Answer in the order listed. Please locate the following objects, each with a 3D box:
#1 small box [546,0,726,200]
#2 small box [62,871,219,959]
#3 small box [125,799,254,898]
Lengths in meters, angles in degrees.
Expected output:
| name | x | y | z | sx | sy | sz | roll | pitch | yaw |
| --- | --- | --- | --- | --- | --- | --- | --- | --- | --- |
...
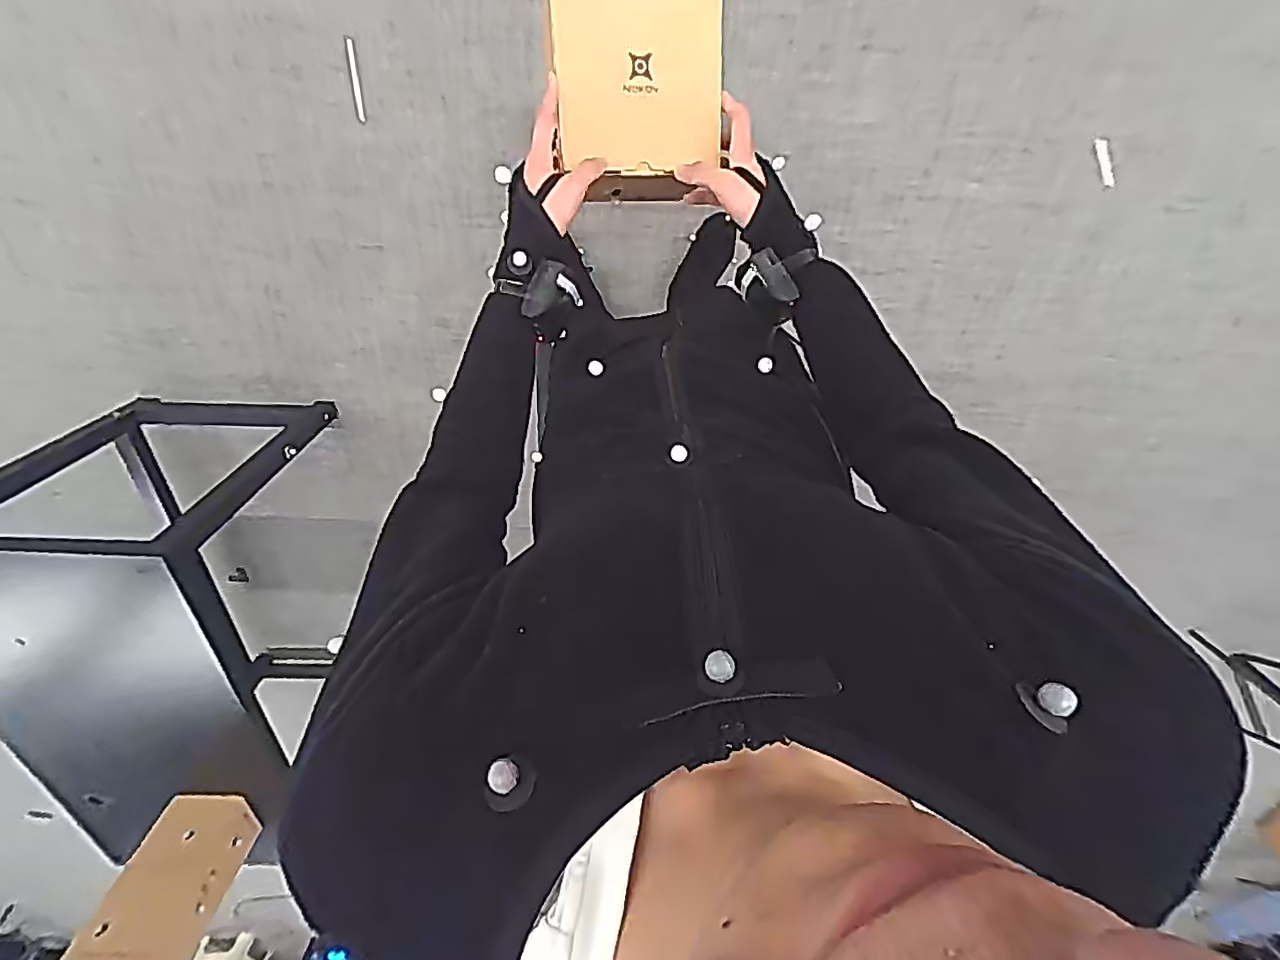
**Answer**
| name | x | y | z | sx | sy | sz | roll | pitch | yaw |
| --- | --- | --- | --- | --- | --- | --- | --- | --- | --- |
| small box | -0.013 | -0.417 | 0.589 | 0.168 | 0.176 | 0.179 | -5 | 110 | -9 |
| small box | -1.133 | 1.028 | 1.244 | 0.179 | 0.176 | 0.168 | 1 | 122 | -2 |
| small box | -1.135 | 0.943 | 1.385 | 0.179 | 0.176 | 0.168 | 0 | 121 | -2 |
